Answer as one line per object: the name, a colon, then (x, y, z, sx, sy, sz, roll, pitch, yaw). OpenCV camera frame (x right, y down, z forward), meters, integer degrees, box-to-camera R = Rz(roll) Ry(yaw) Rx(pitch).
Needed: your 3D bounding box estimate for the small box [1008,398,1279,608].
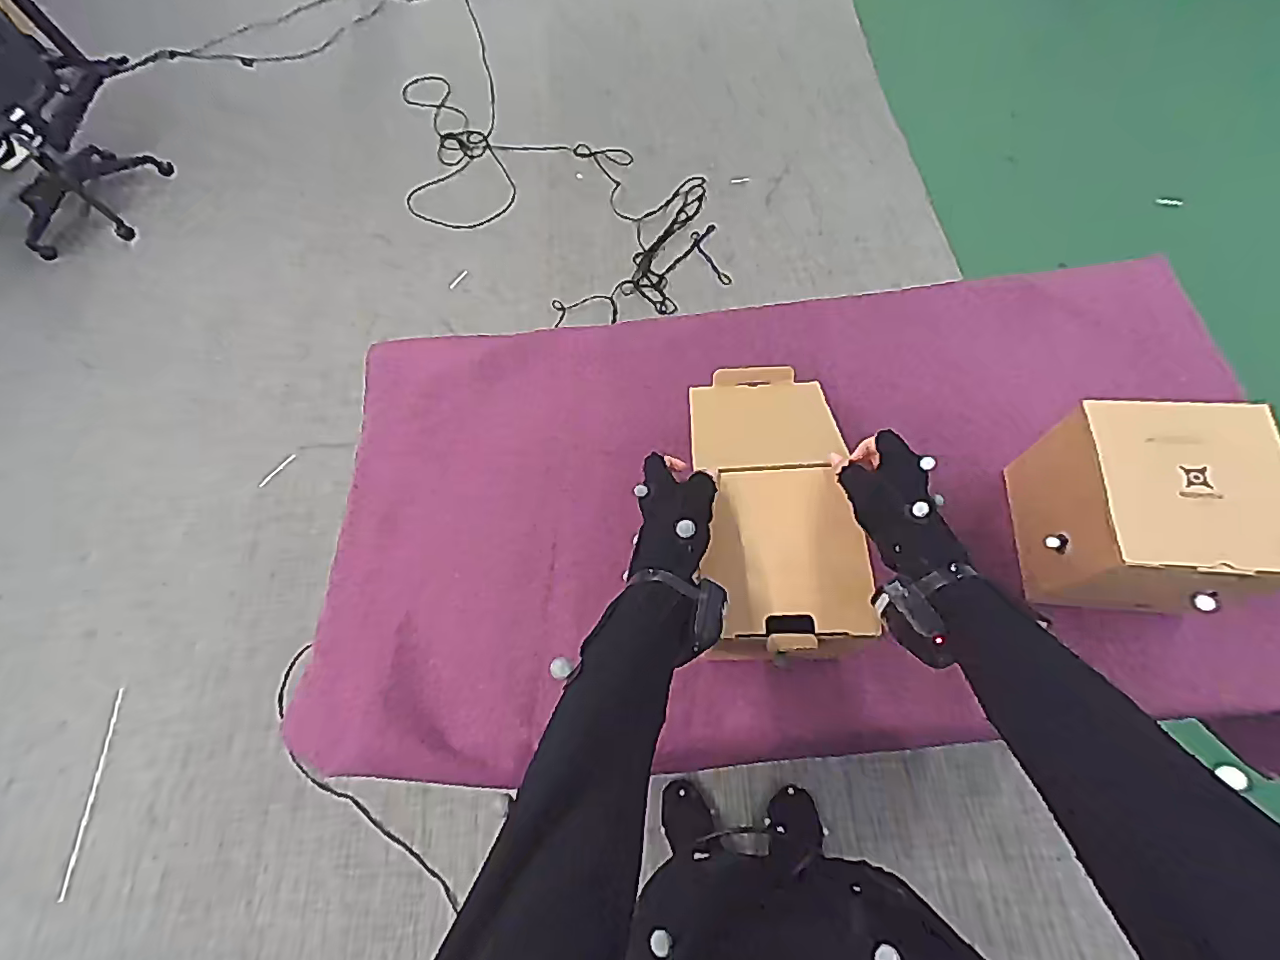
small box: (0.529, 0.032, 0.577, 0.168, 0.176, 0.179, 3, 66, 9)
